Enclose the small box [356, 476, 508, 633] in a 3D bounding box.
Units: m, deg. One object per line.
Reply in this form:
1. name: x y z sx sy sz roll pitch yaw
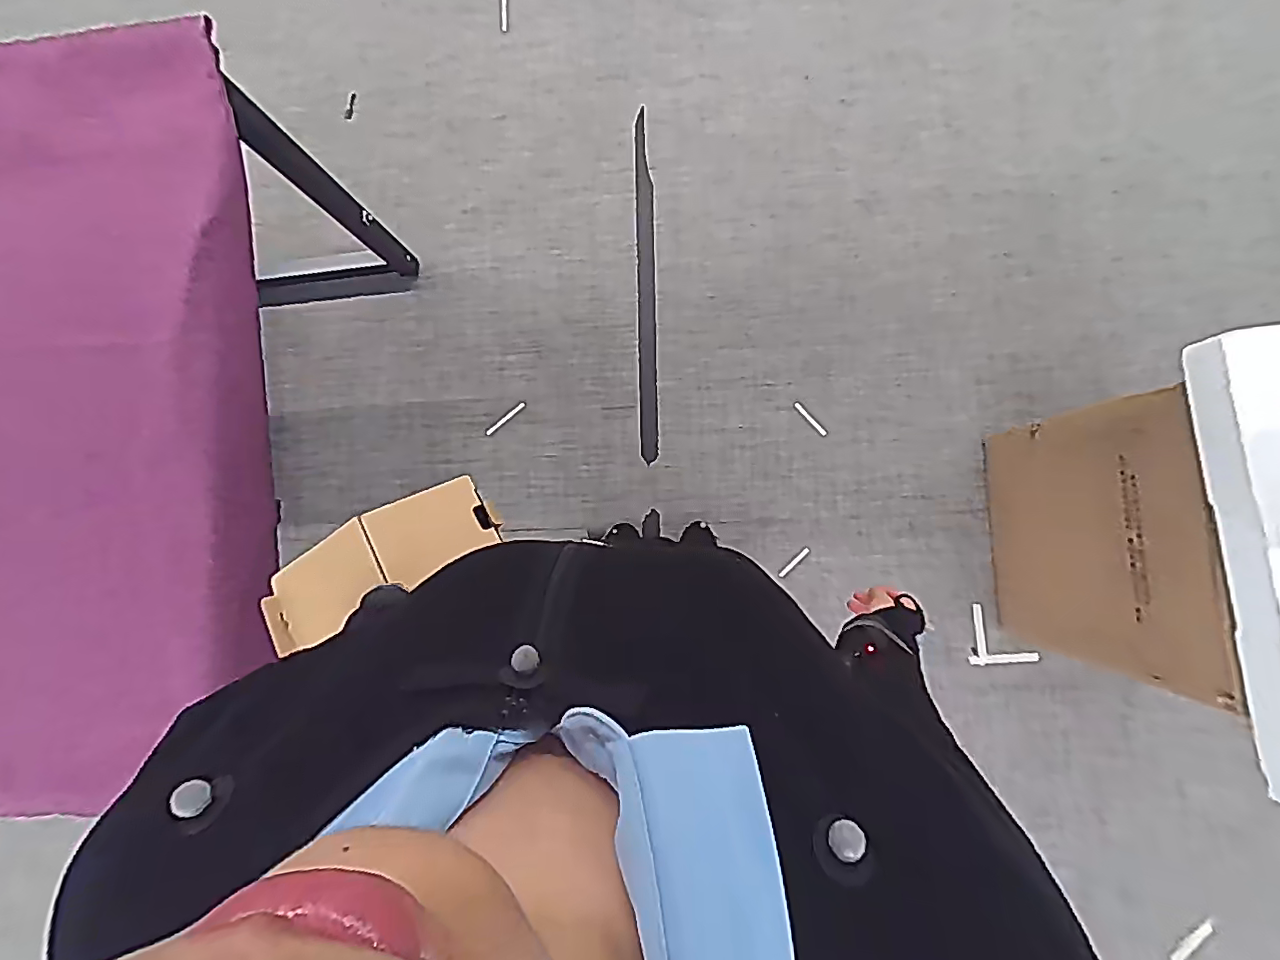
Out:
1. small box: -0.327 0.127 0.879 0.179 0.176 0.168 -24 71 -25
